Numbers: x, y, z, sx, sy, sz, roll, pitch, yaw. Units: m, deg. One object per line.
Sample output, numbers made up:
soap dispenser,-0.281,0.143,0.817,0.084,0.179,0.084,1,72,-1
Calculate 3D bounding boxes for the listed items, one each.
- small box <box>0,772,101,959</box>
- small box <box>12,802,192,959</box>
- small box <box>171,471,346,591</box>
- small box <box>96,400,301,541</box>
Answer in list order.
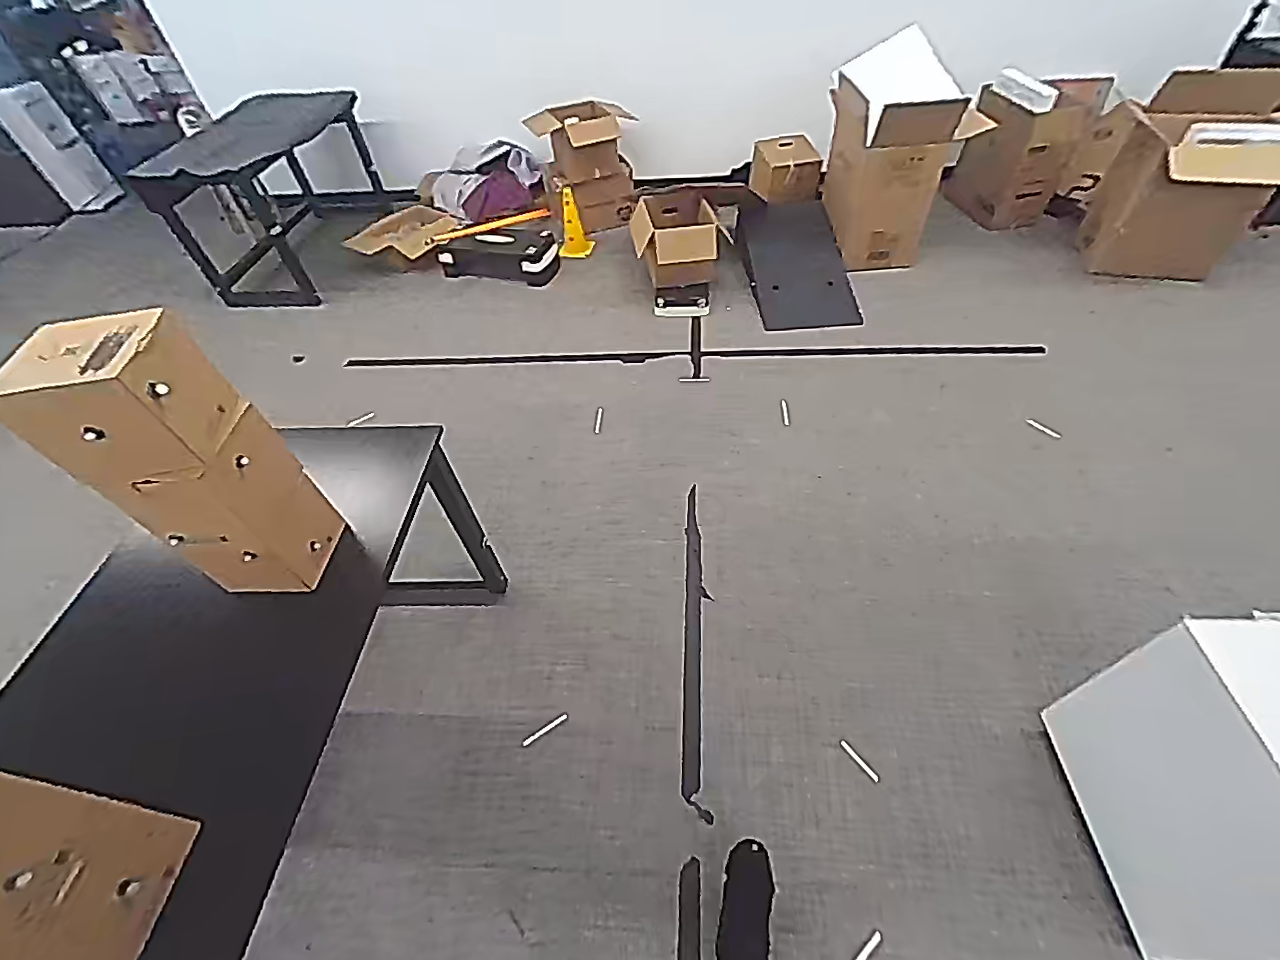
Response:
small box,-0.737,0.397,0.547,0.179,0.176,0.168,-1,50,4
small box,-0.725,0.505,0.671,0.179,0.176,0.168,-1,49,3
small box,-0.703,0.098,1.021,0.179,0.176,0.168,-1,49,4
small box,-0.707,-0.009,0.896,0.168,0.176,0.179,-3,49,2
